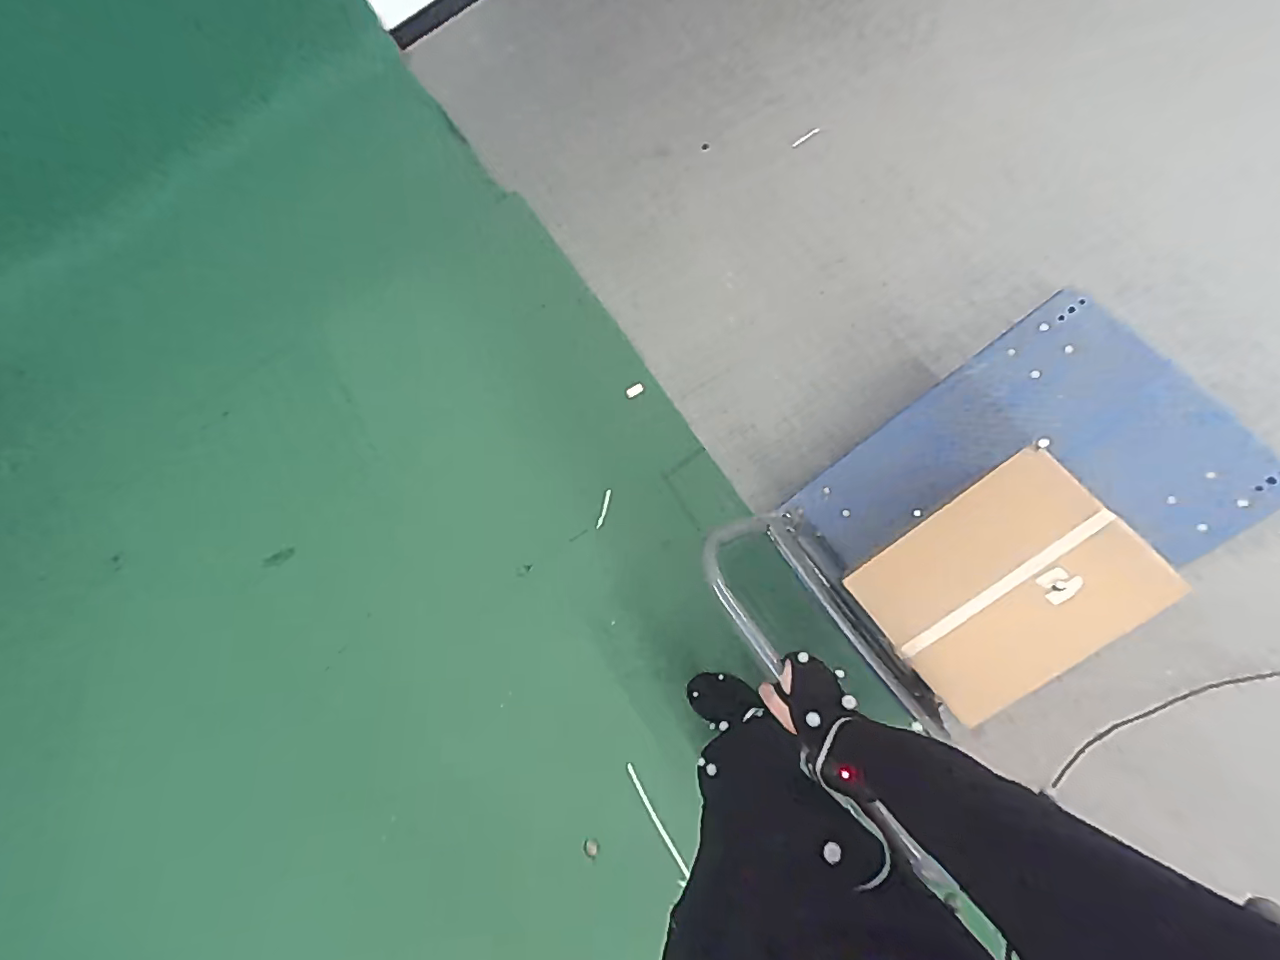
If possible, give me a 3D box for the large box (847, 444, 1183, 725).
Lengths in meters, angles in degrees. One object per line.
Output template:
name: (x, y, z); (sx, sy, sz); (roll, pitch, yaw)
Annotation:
large box: (0.672, 0.196, 1.067); (0.408, 0.320, 0.320); (-41, 72, 12)
